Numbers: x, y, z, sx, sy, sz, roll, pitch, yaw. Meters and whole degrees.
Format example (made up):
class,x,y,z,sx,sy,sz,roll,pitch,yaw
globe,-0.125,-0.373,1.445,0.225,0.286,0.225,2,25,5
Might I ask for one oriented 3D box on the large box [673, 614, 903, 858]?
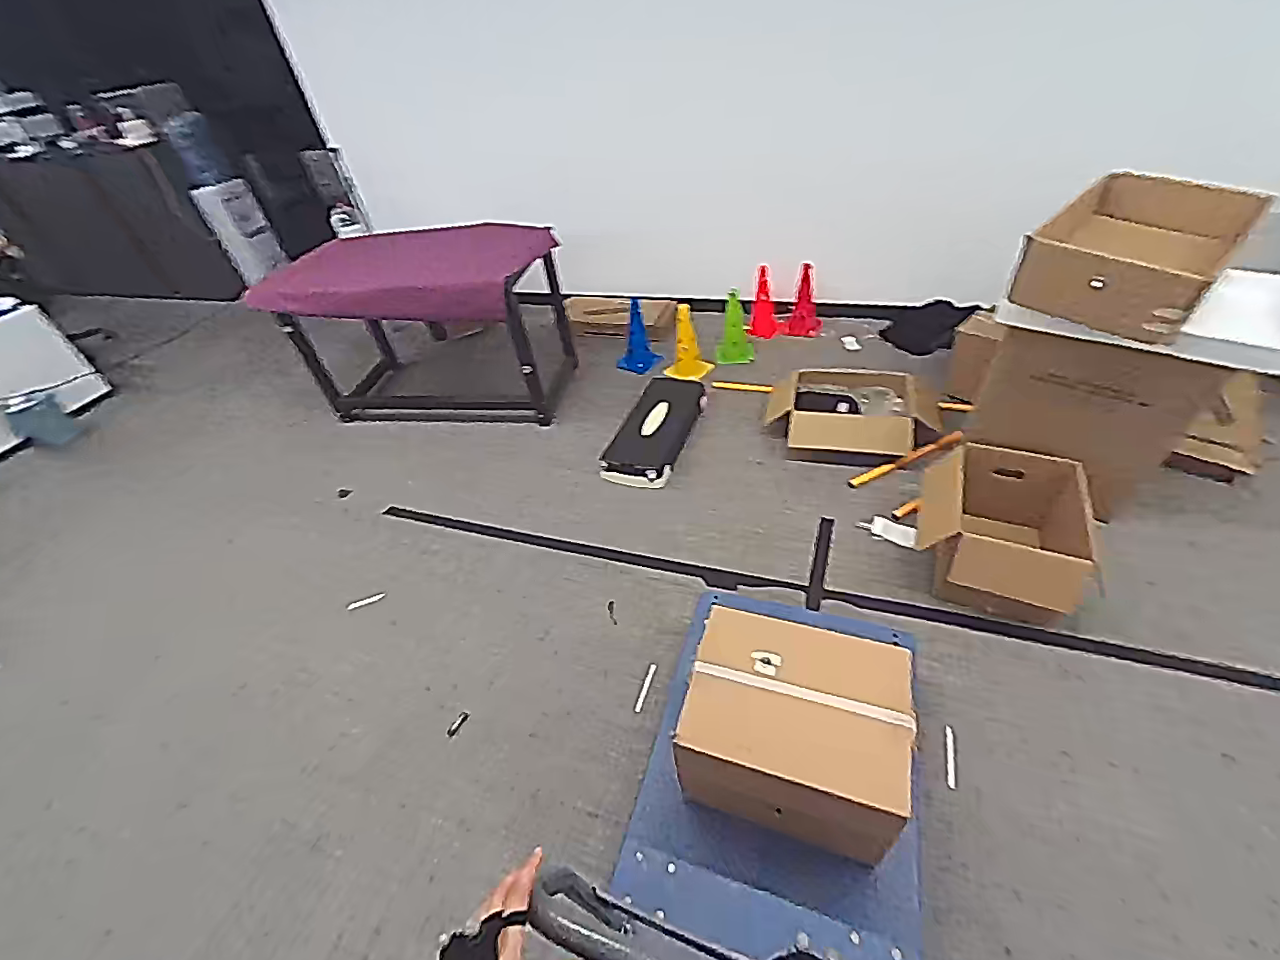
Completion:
class,x,y,z,sx,sy,sz,roll,pitch,yaw
large box,0.316,0.535,1.152,0.408,0.320,0.320,8,44,19
